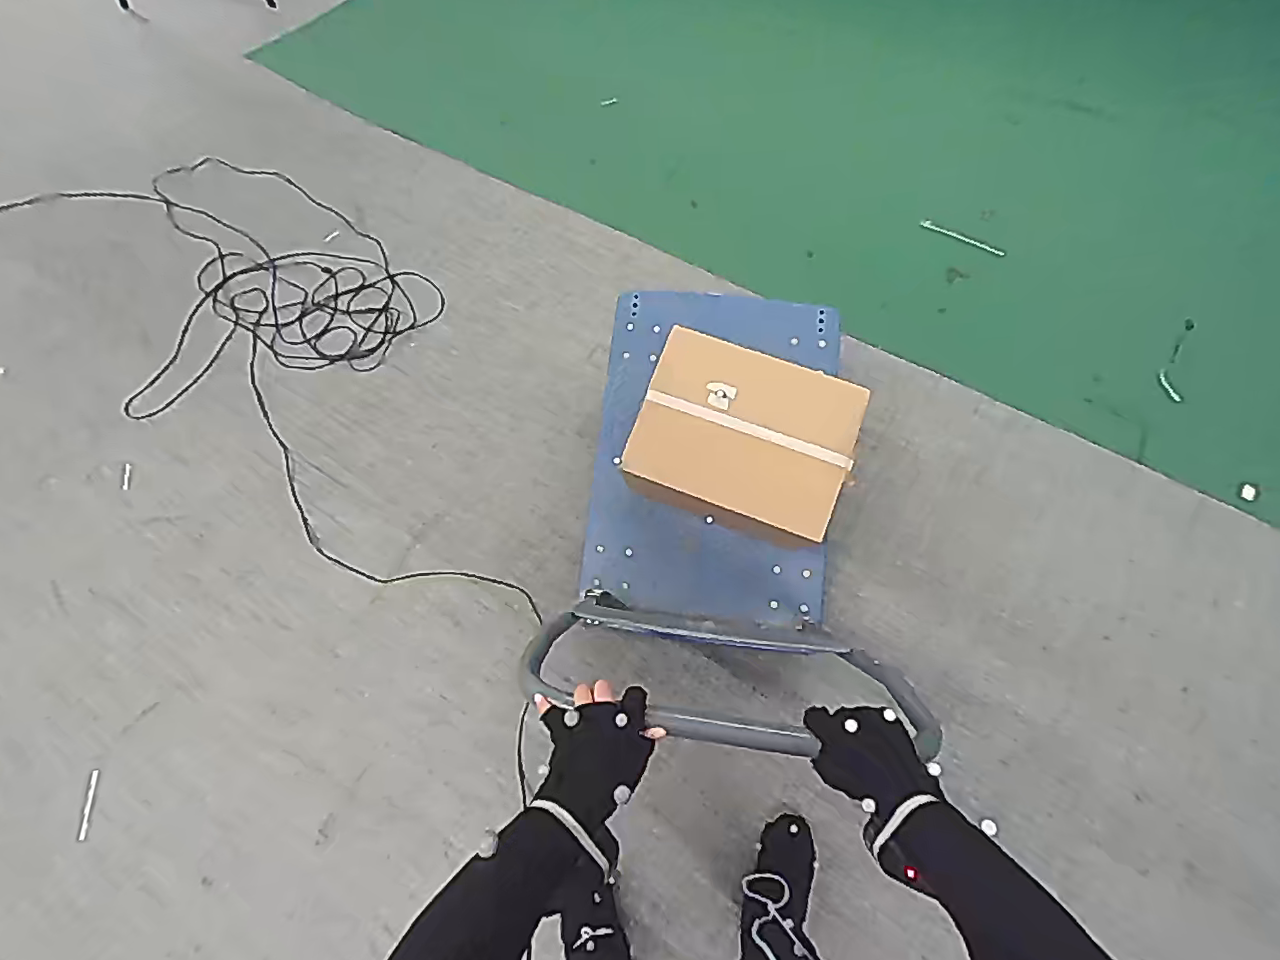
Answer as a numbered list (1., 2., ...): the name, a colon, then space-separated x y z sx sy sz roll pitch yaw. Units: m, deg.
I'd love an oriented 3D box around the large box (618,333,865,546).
1. large box: 0.206 -0.067 1.179 0.408 0.320 0.320 20 82 7
